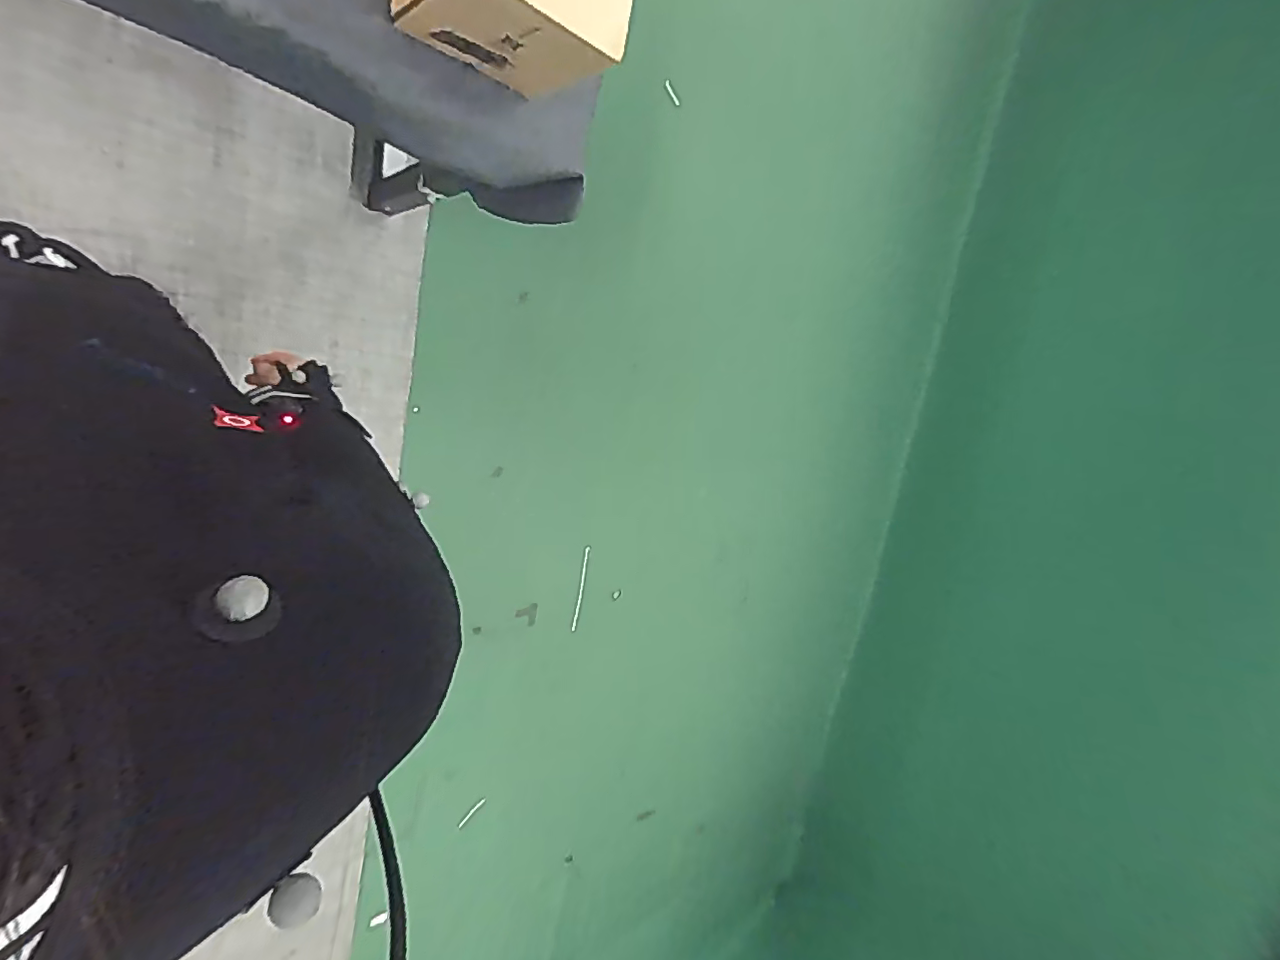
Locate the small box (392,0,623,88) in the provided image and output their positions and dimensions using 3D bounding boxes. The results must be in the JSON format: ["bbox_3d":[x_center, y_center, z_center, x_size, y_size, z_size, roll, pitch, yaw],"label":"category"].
[{"bbox_3d":[-0.114,-0.516,0.512,0.168,0.179,0.176,-3,111,-43],"label":"small box"}]
